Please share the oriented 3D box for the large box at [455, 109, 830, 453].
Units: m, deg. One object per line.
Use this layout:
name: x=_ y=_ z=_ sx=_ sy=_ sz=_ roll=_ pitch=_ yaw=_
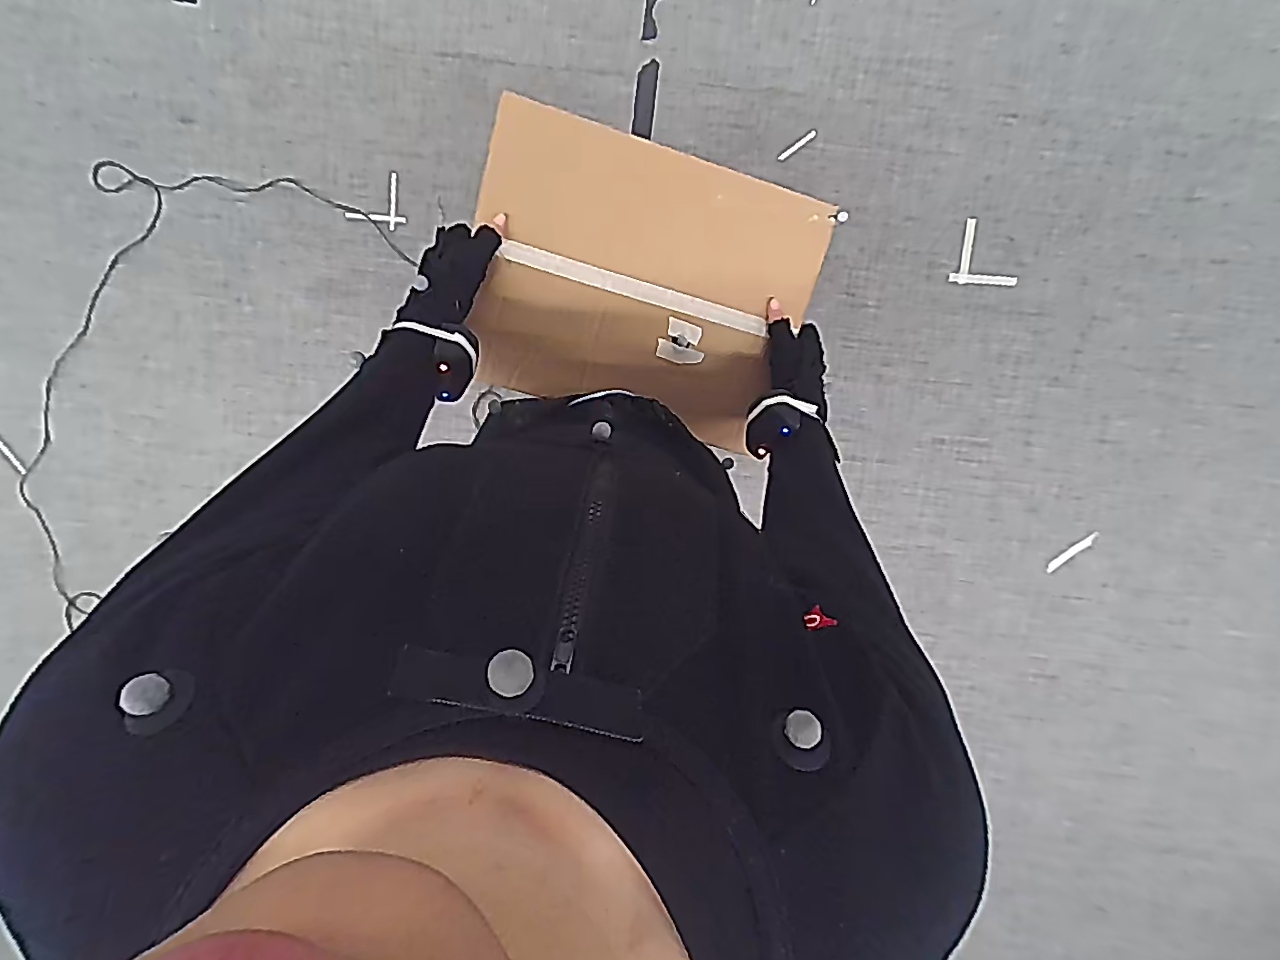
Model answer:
large box: x=-0.011 y=-0.259 z=0.801 sx=0.408 sy=0.320 sz=0.320 roll=15 pitch=103 yaw=-8
